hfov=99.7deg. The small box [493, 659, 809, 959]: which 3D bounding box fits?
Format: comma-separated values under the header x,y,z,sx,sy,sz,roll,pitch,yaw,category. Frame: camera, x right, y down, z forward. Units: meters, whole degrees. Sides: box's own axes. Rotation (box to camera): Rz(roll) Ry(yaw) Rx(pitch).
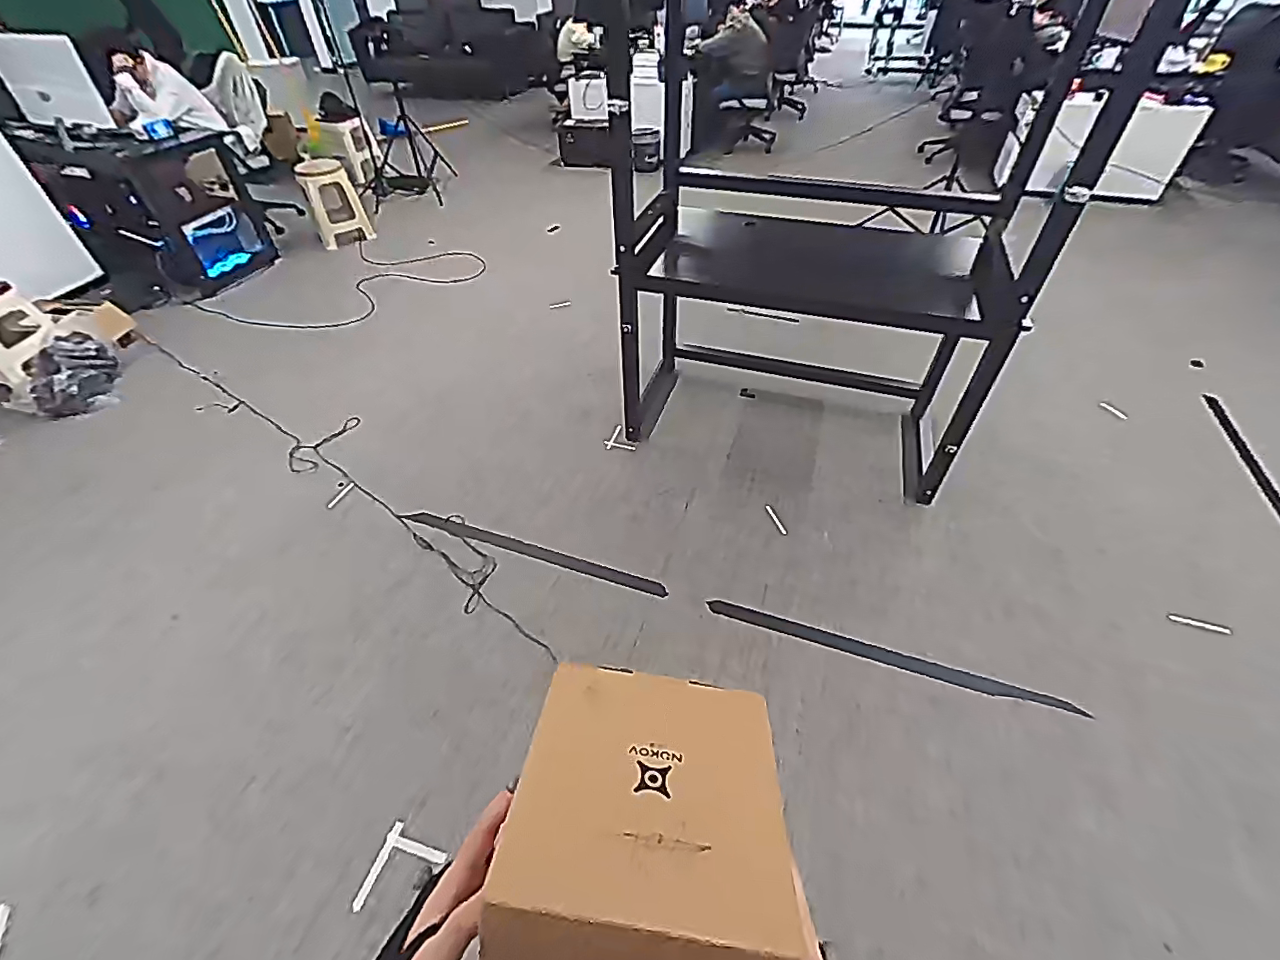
x,y,z,sx,sy,sz,roll,pitch,yaw,category
0.001,0.261,0.377,0.168,0.176,0.179,8,24,2,small box
